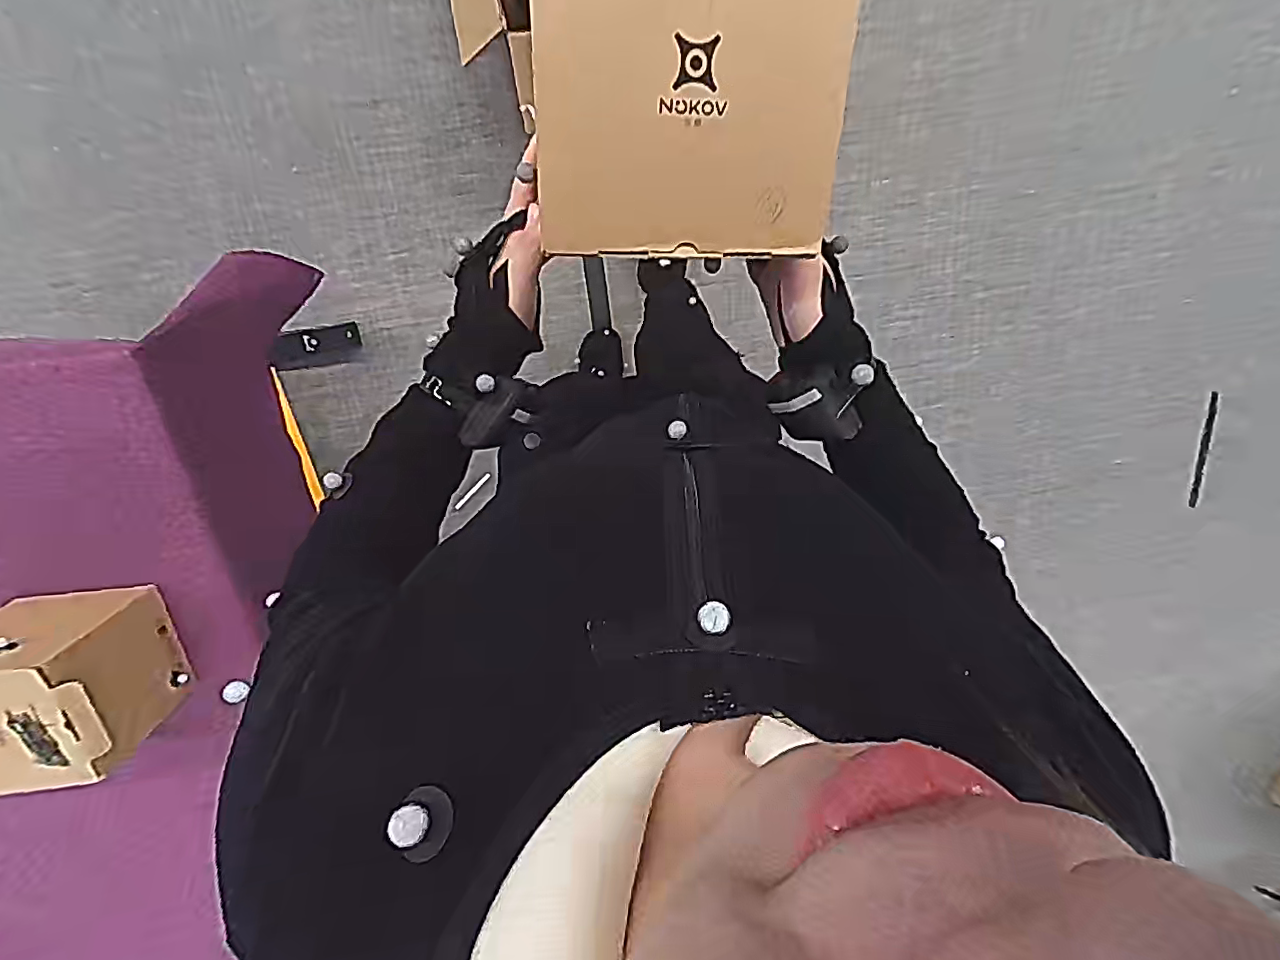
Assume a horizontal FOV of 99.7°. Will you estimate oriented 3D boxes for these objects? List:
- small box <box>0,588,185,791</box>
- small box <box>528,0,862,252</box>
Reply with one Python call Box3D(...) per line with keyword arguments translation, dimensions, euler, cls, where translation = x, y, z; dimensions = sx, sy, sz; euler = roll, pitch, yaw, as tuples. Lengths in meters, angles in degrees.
Box3D(translation=(-0.715, 0.247, 0.666), dimensions=(0.179, 0.176, 0.168), euler=(-5, 110, -4), cls="small box")
Box3D(translation=(0.018, -0.247, 0.342), dimensions=(0.168, 0.176, 0.179), euler=(-2, 117, -8), cls="small box")
